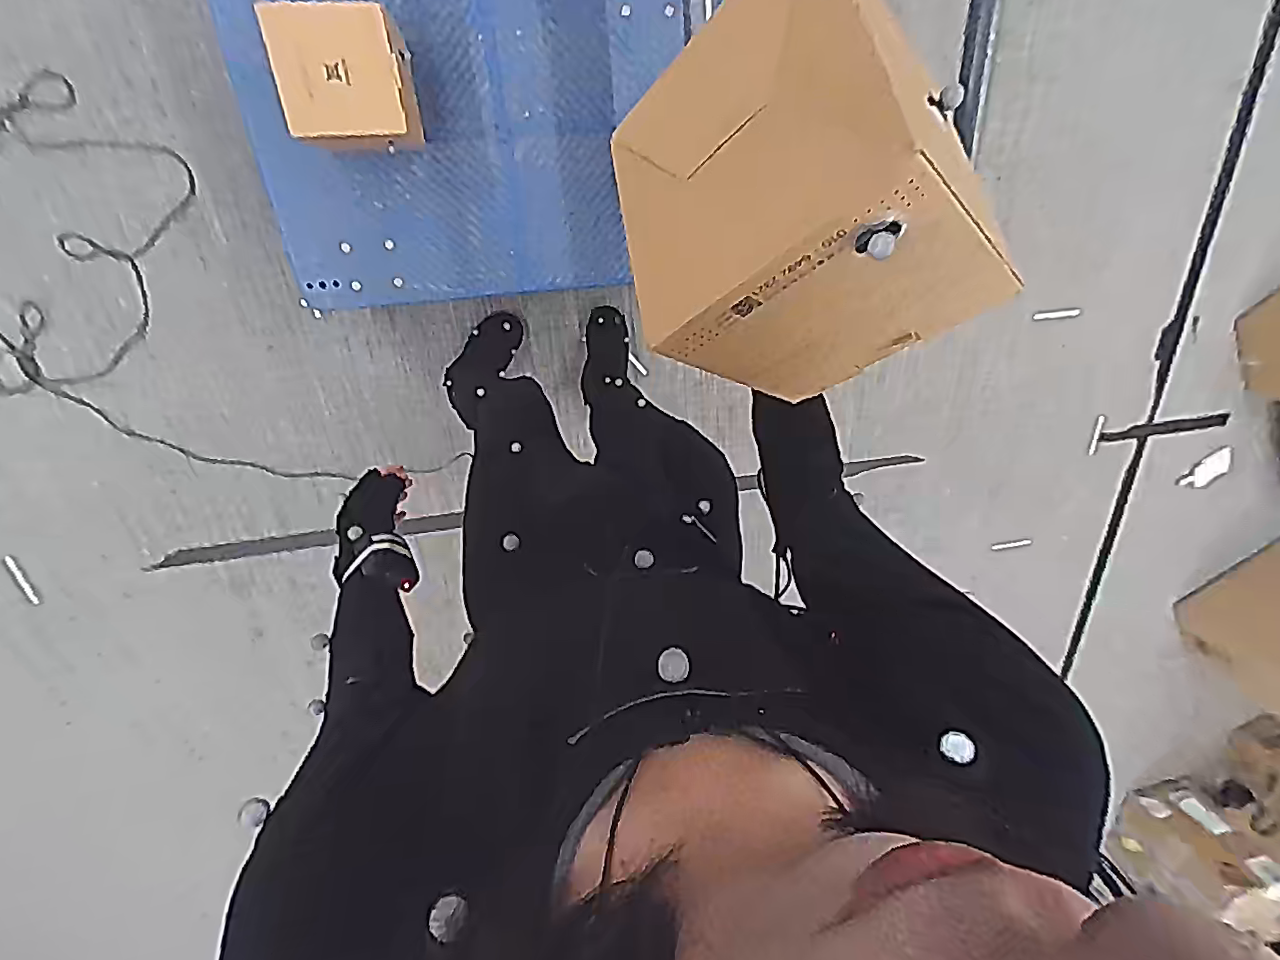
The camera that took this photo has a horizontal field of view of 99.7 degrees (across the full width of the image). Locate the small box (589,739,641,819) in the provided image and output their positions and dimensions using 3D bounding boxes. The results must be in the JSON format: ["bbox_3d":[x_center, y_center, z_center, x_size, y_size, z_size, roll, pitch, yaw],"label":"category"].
[{"bbox_3d":[-0.091,1.058,1.920,0.168,0.176,0.179,-5,114,-9],"label":"small box"}]

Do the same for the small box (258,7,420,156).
[{"bbox_3d":[-0.473,-0.641,0.887,0.179,0.176,0.168,-8,114,-8],"label":"small box"}]

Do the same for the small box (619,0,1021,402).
[{"bbox_3d":[0.104,-0.177,0.348,0.176,0.179,0.168,9,155,-43],"label":"small box"}]
